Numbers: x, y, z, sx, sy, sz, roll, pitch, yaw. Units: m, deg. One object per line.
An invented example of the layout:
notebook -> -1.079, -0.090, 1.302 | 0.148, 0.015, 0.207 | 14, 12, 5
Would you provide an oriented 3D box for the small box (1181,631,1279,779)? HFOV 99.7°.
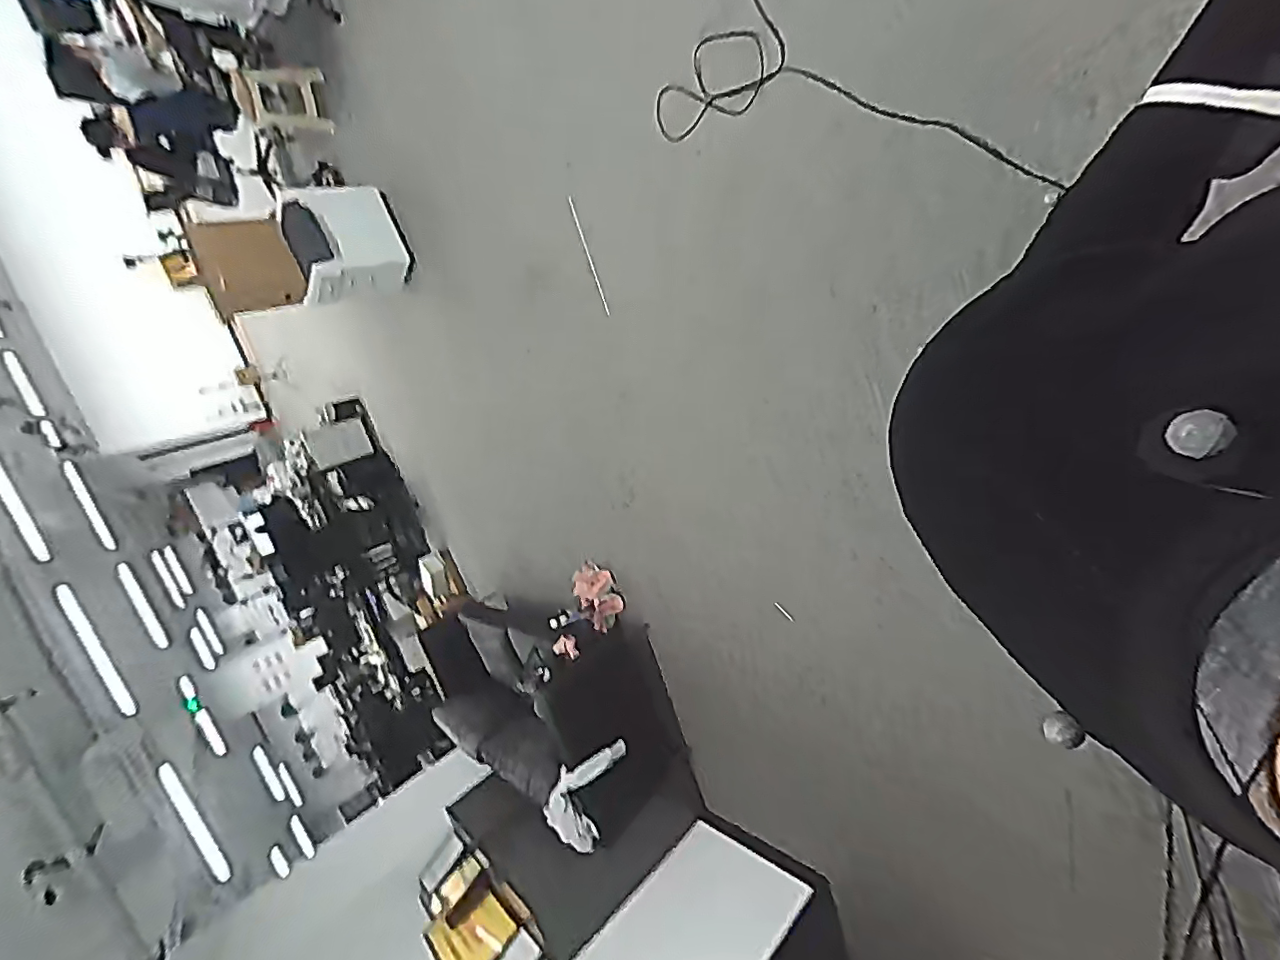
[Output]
small box -> 1.084, 0.392, 0.956 | 0.168, 0.176, 0.179 | -1, 109, 51
